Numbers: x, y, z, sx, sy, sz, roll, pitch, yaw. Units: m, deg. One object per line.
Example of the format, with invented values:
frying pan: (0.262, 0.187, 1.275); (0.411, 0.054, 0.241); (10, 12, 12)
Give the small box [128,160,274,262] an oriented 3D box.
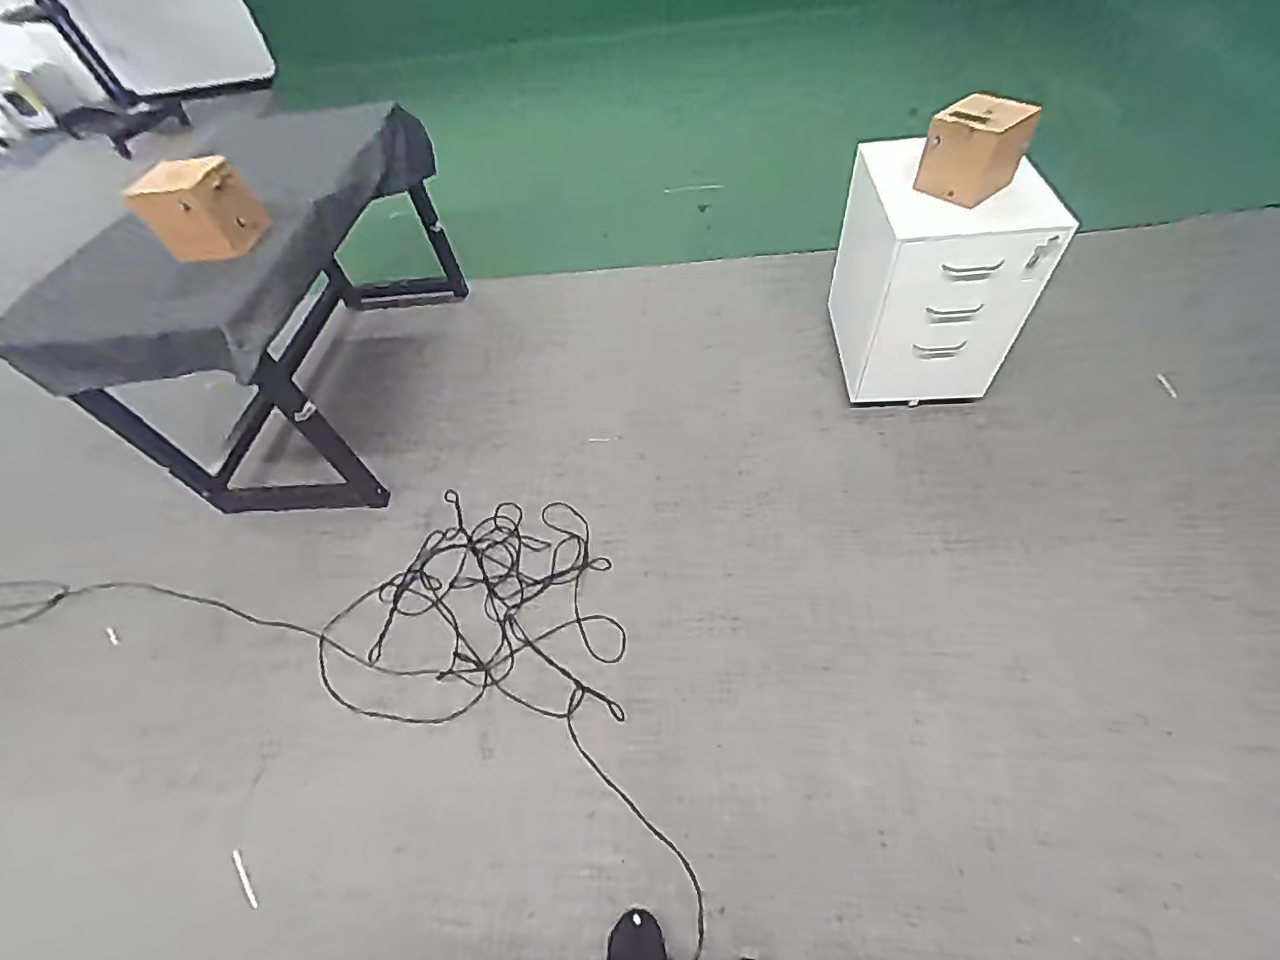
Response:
small box: (-1.048, -0.645, 1.308); (0.179, 0.176, 0.168); (-1, 53, 6)
